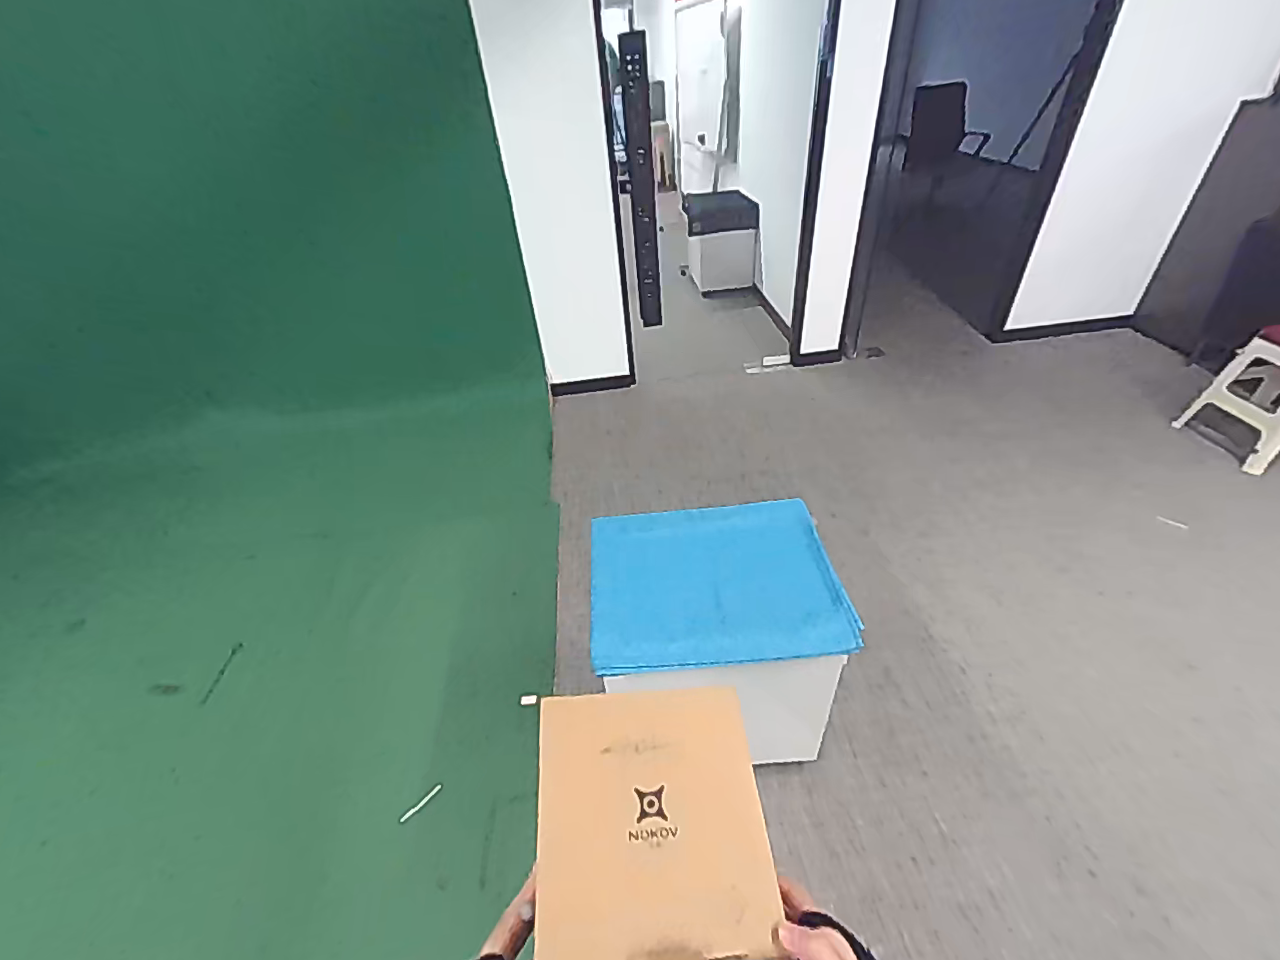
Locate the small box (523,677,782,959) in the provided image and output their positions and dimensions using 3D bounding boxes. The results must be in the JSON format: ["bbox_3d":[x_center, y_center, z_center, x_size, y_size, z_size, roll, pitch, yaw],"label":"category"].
[{"bbox_3d":[-0.002,0.283,0.447,0.168,0.176,0.179,1,46,-7],"label":"small box"}]
